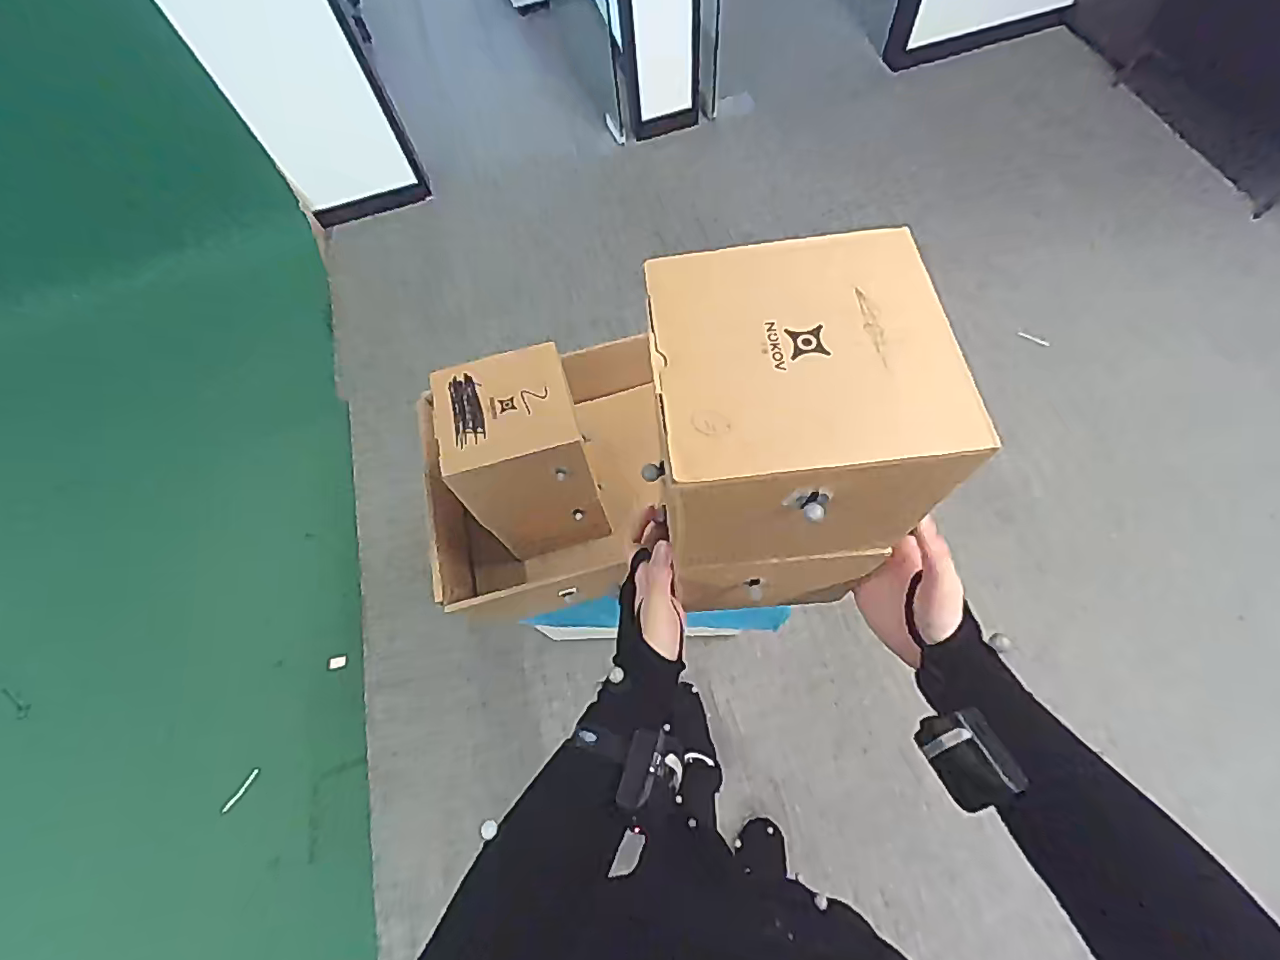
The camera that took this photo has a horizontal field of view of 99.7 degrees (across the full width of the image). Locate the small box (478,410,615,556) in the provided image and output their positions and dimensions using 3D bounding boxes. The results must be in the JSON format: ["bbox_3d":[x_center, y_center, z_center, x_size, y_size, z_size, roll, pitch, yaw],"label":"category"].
[{"bbox_3d":[-0.152,0.013,0.914,0.179,0.176,0.168,-16,64,-3],"label":"small box"}]

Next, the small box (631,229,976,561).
[{"bbox_3d":[0.094,-0.046,0.393,0.179,0.176,0.168,-7,65,3],"label":"small box"}]
